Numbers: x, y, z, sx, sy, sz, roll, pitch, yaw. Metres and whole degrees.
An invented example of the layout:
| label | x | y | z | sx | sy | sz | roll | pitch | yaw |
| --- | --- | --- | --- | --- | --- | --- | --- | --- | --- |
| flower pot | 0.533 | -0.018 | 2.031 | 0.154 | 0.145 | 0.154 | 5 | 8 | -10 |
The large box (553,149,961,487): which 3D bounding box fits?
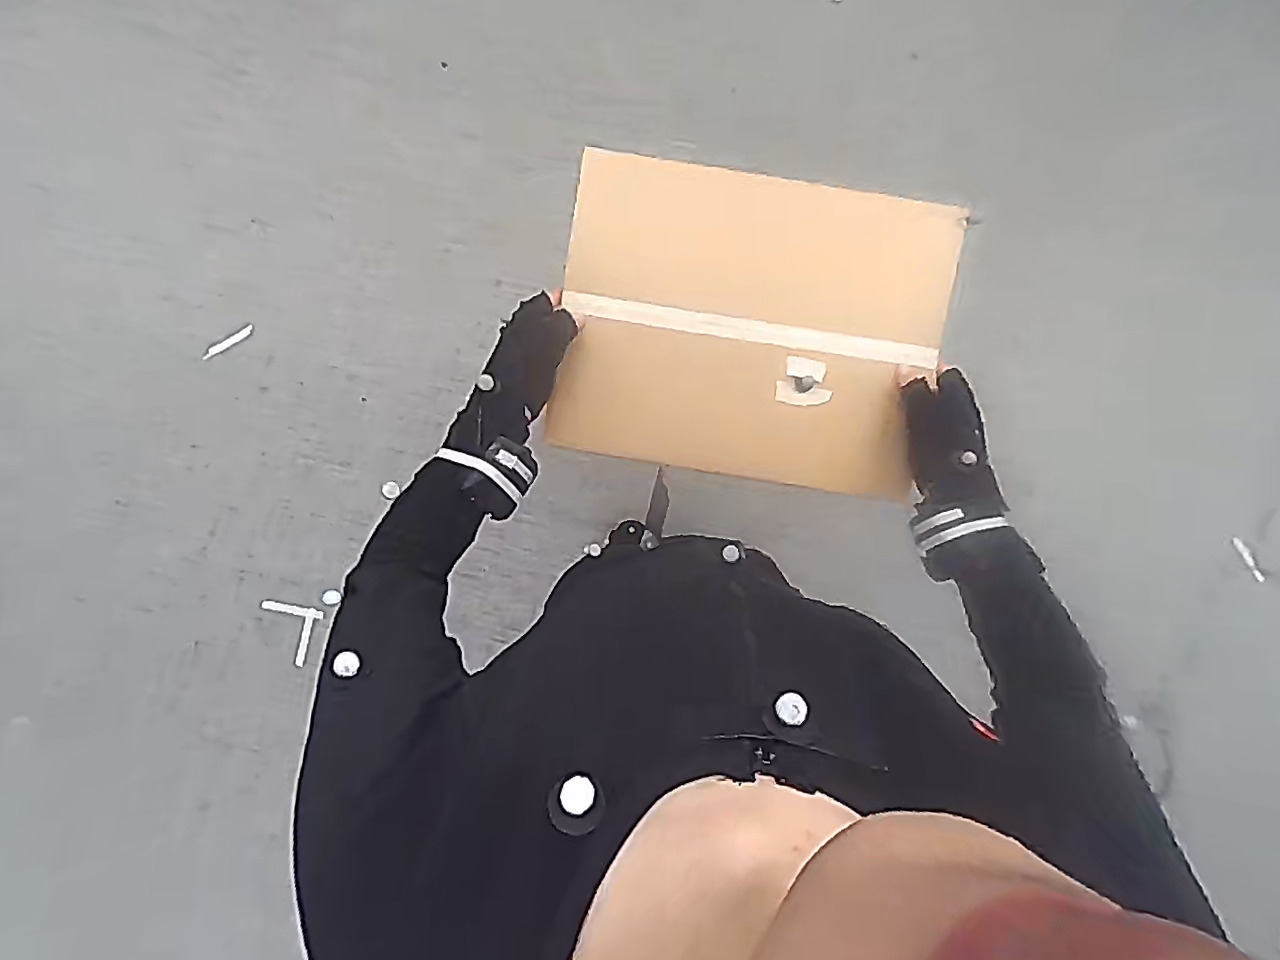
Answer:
| label | x | y | z | sx | sy | sz | roll | pitch | yaw |
| --- | --- | --- | --- | --- | --- | --- | --- | --- | --- |
| large box | 0.119 | -0.183 | 0.725 | 0.408 | 0.320 | 0.320 | 9 | 97 | -1 |
